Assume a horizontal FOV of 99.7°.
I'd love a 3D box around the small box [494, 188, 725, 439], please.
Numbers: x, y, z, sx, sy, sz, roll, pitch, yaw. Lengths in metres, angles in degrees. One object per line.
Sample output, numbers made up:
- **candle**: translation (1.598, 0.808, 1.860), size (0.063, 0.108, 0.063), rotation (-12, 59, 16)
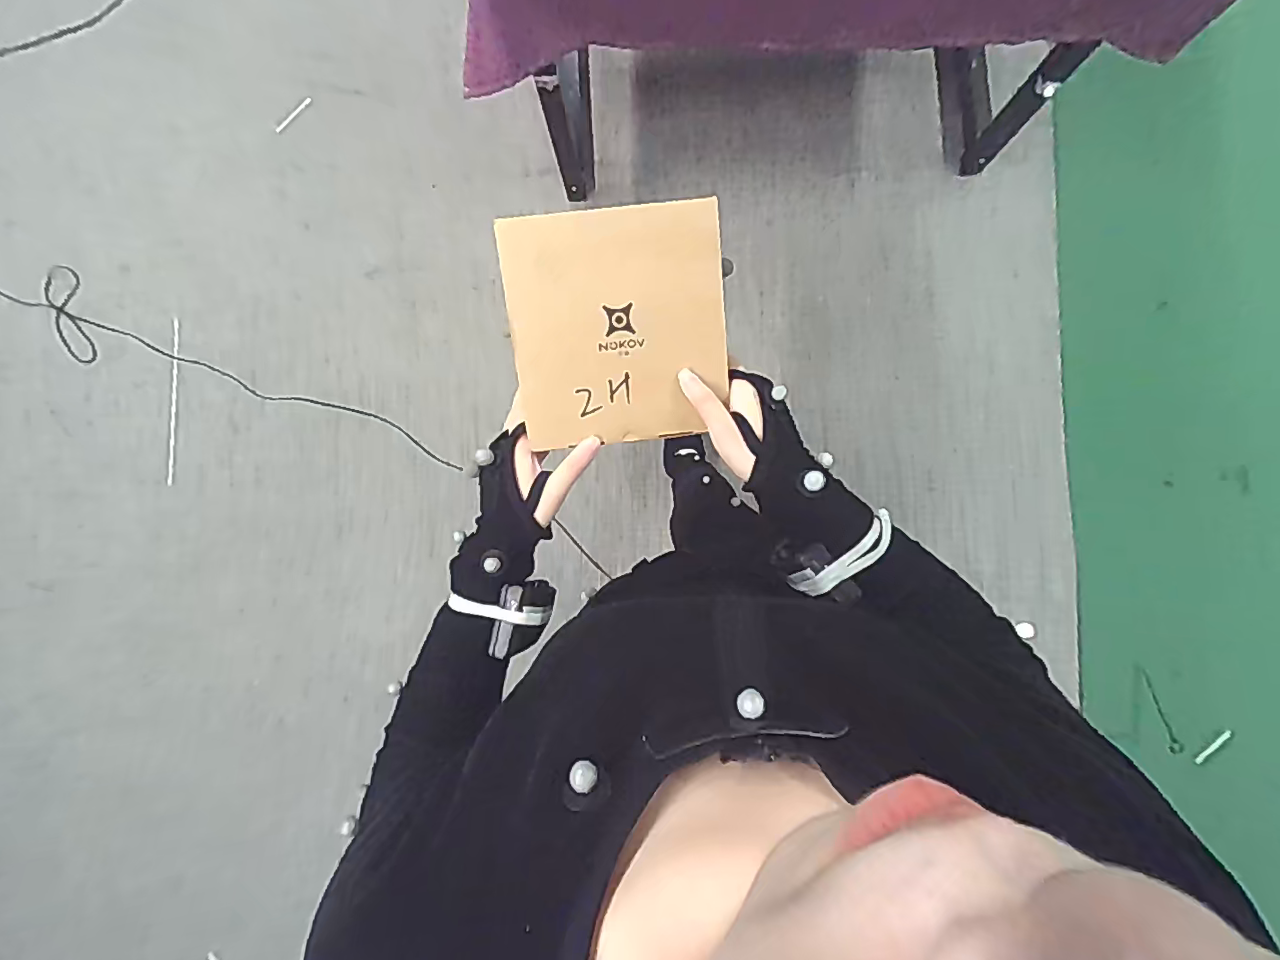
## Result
- **small box**: translation (-0.024, -0.144, 0.495), size (0.168, 0.176, 0.179), rotation (-7, 106, -1)
